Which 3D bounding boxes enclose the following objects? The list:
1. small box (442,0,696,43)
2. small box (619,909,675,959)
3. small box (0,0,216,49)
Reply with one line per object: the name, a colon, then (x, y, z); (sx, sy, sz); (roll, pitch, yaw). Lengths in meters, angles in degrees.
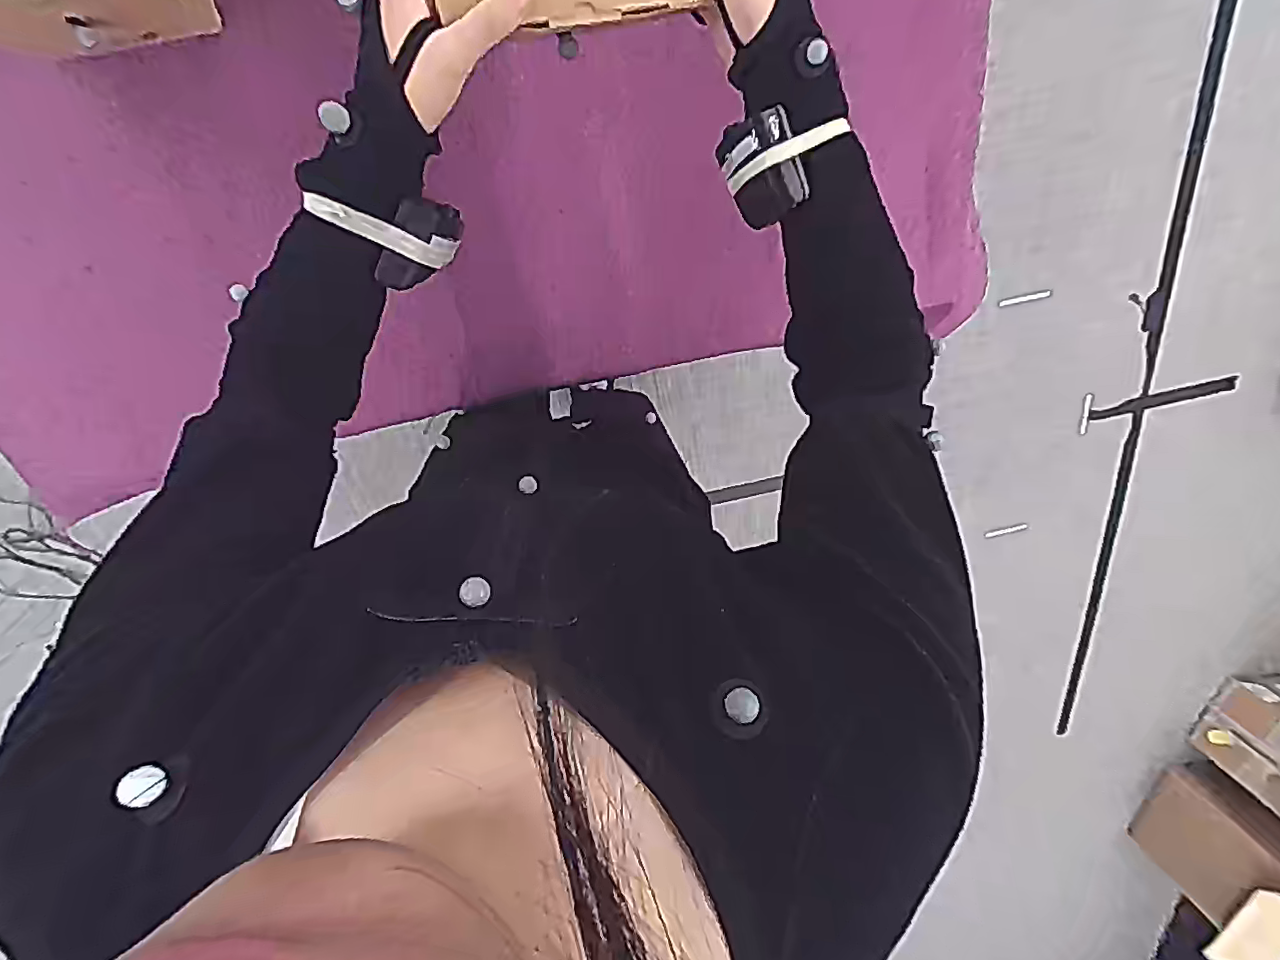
small box: (-0.056, -0.391, 0.328); (0.168, 0.176, 0.179); (-11, 127, -5)
small box: (0.030, 1.707, 1.966); (0.179, 0.176, 0.168); (-14, 115, -2)
small box: (-0.473, -0.449, 0.399); (0.168, 0.176, 0.179); (-14, 118, -4)
